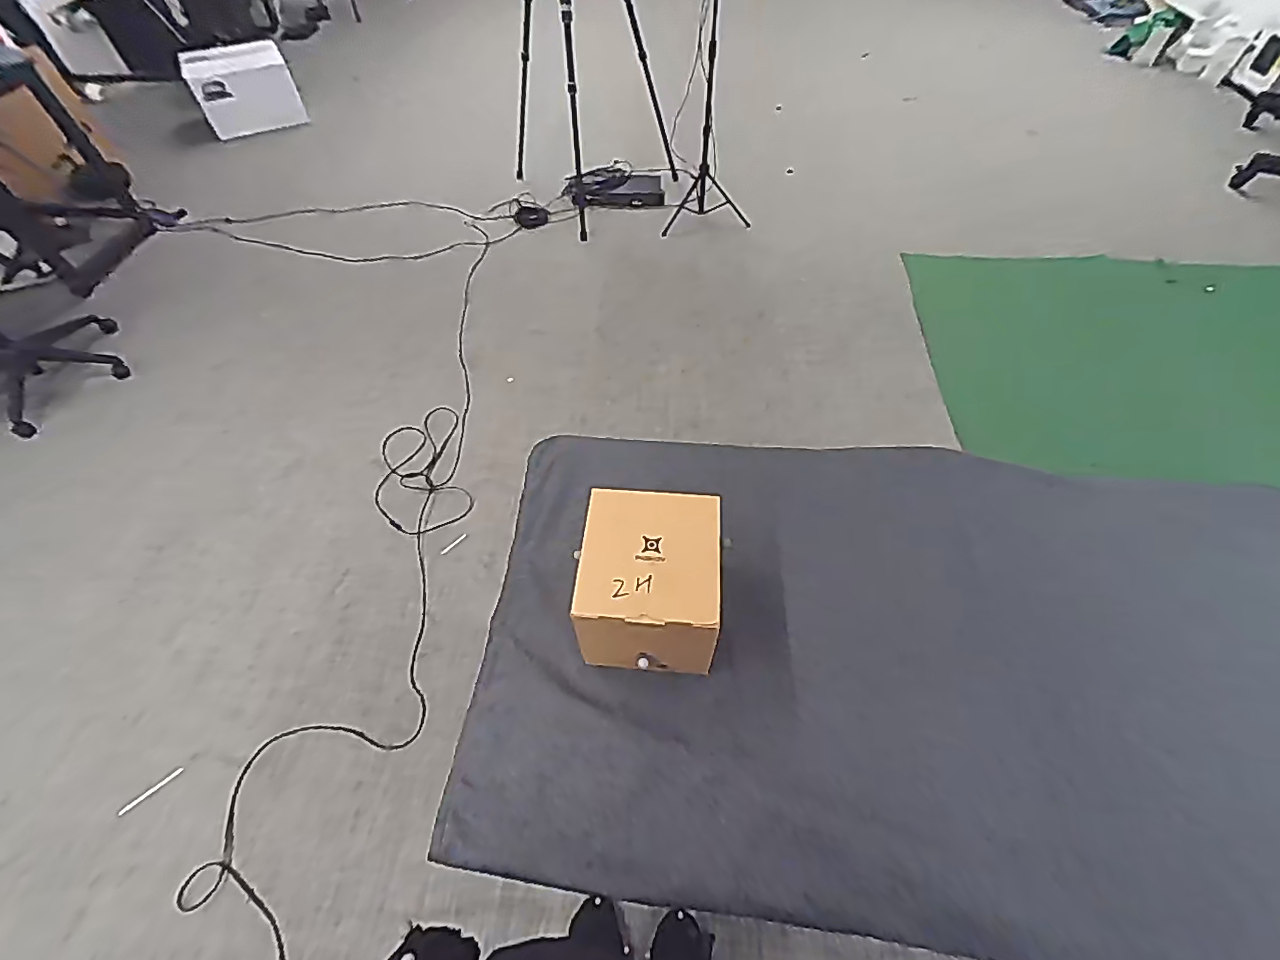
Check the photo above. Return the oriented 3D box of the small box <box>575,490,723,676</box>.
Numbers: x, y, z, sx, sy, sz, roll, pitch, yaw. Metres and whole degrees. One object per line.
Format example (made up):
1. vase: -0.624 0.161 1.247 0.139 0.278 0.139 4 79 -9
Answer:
1. small box: 0.016 0.135 0.705 0.168 0.176 0.179 4 53 4
